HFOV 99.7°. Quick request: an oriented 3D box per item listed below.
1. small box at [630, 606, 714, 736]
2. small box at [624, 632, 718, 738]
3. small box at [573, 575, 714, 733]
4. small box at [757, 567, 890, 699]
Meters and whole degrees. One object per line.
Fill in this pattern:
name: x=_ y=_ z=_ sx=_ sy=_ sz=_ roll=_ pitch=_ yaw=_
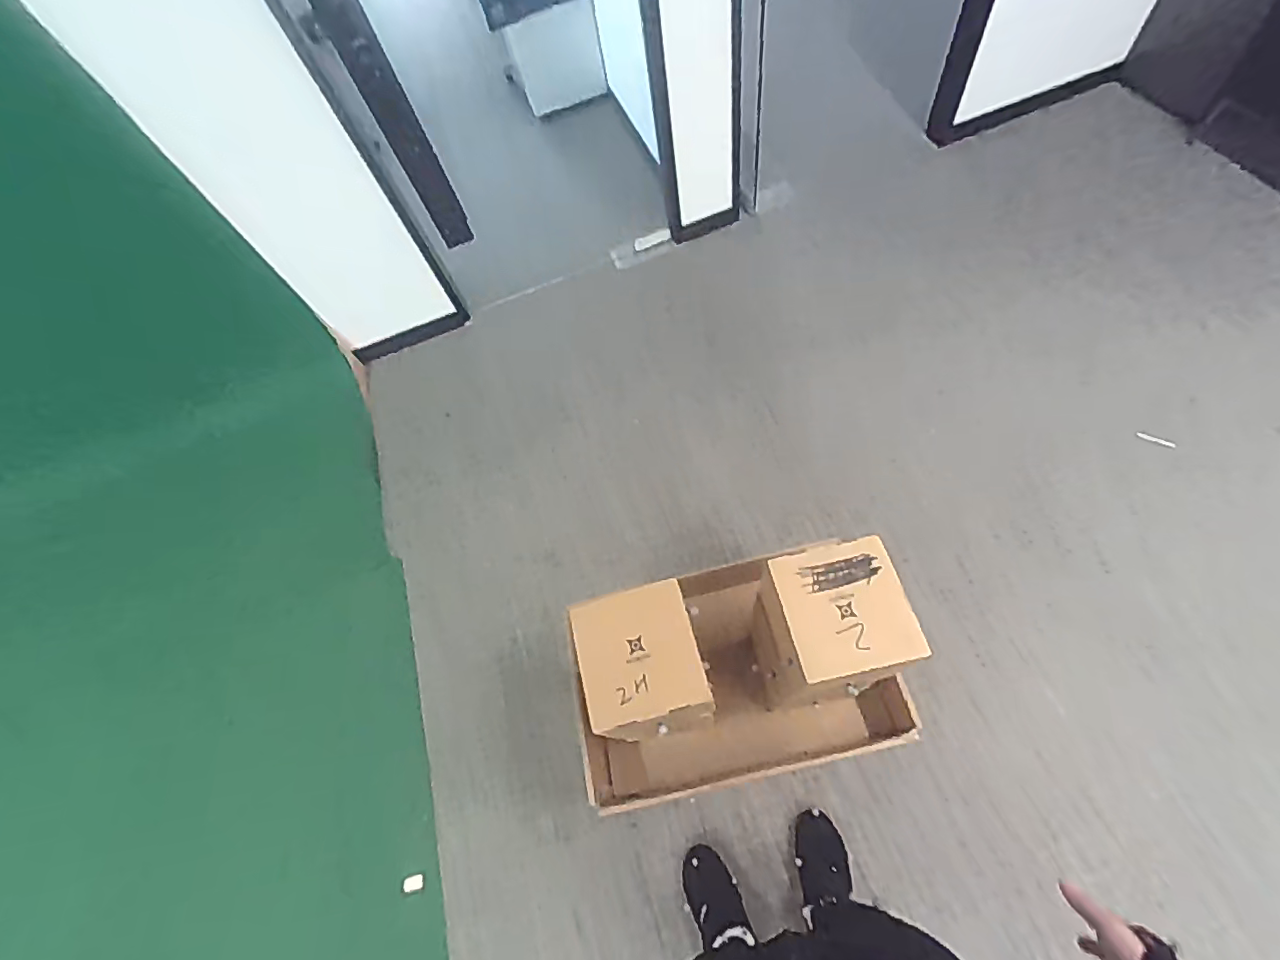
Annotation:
small box: x=0.033 y=0.345 z=0.965 sx=0.168 sy=0.176 sz=0.179 roll=-13 pitch=61 yaw=3
small box: x=0.056 y=0.424 z=1.107 sx=0.179 sy=0.176 sz=0.168 roll=-12 pitch=61 yaw=3
small box: x=0.009 y=0.270 z=0.821 sx=0.168 sy=0.176 sz=0.179 roll=-17 pitch=61 yaw=2
small box: x=0.308 y=0.275 z=0.947 sx=0.168 sy=0.176 sz=0.179 roll=-13 pitch=60 yaw=3
